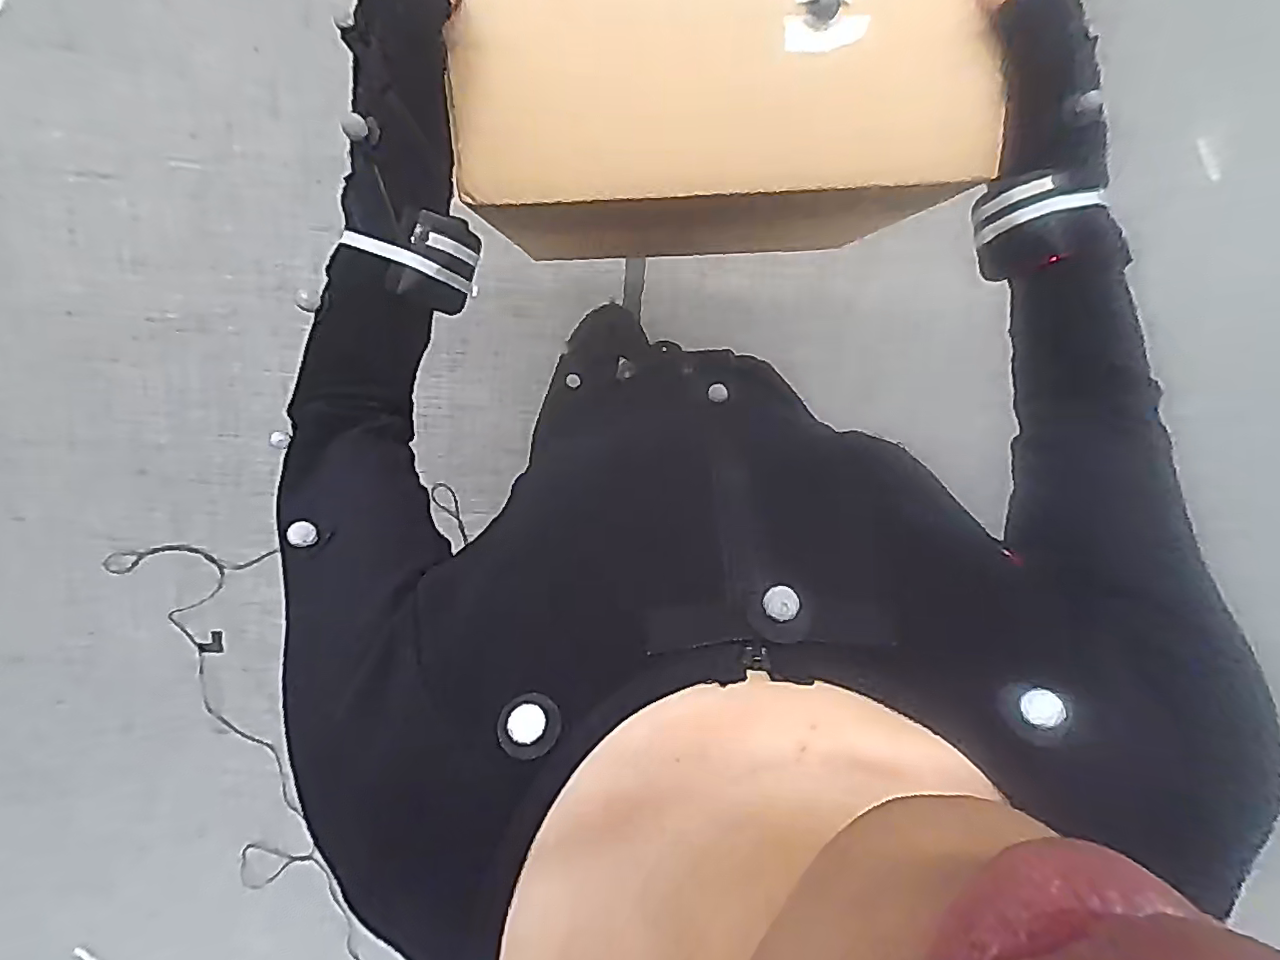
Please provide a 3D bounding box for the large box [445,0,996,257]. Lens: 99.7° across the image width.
[{"bbox_3d":[0.052,-0.414,0.523,0.408,0.320,0.320,-3,105,0],"label":"large box"}]
